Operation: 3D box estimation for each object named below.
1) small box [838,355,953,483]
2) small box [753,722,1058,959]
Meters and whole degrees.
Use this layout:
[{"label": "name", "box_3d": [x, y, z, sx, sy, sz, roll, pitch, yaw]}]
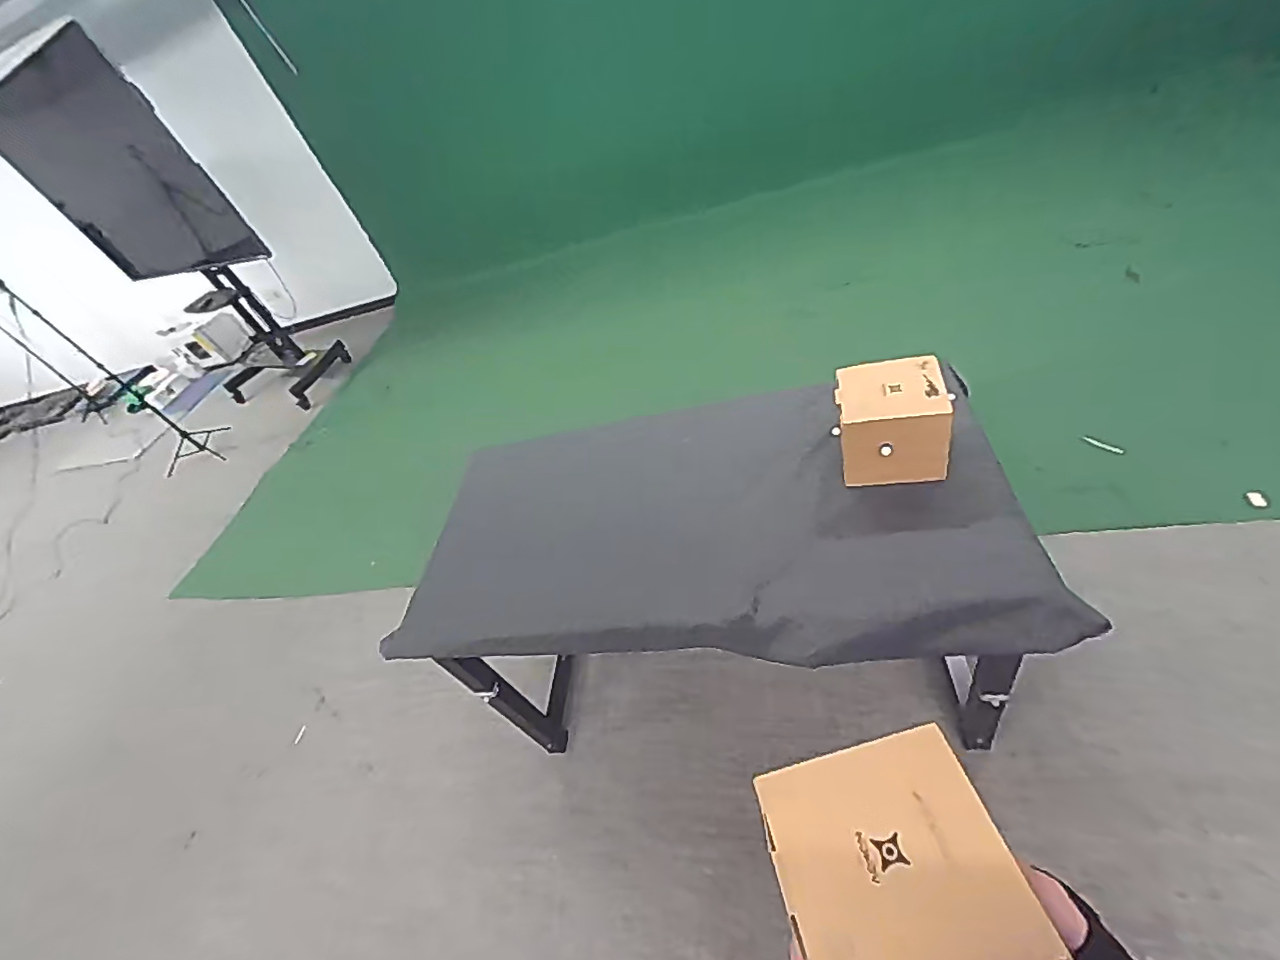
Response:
[{"label": "small box", "box_3d": [0.478, -0.108, 1.023, 0.179, 0.176, 0.168, -5, 47, 21]}, {"label": "small box", "box_3d": [0.224, 0.354, 0.487, 0.179, 0.176, 0.168, -21, 40, 7]}]
